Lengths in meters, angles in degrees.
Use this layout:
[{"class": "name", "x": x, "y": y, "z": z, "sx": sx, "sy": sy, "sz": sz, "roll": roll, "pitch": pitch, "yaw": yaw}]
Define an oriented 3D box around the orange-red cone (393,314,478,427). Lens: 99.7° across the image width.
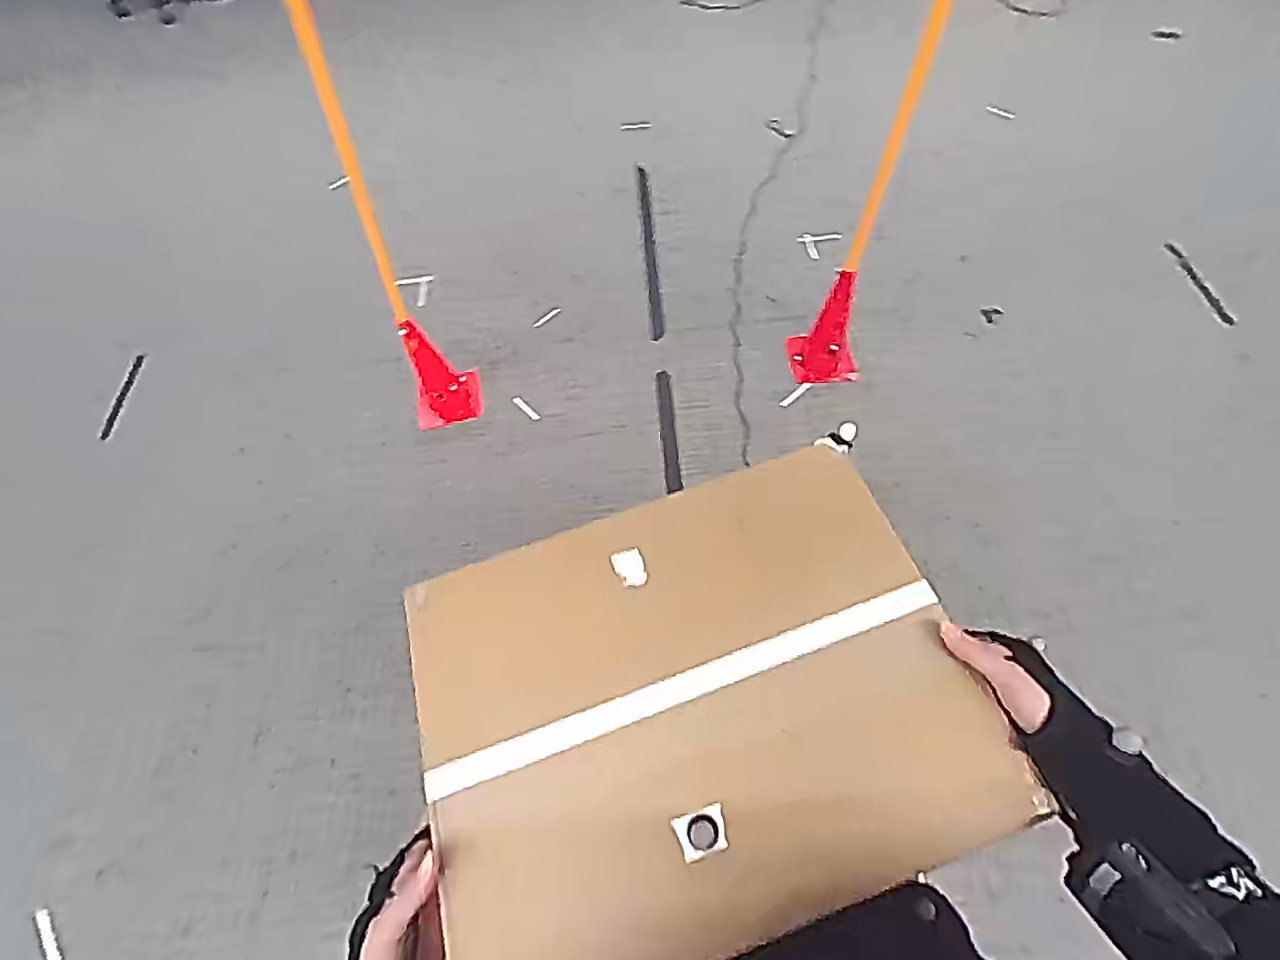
[{"class": "orange-red cone", "x": -0.634, "y": -0.345, "z": 1.597, "sx": 0.199, "sy": 0.360, "sz": 0.198, "roll": -13, "pitch": 61, "yaw": -3}]
